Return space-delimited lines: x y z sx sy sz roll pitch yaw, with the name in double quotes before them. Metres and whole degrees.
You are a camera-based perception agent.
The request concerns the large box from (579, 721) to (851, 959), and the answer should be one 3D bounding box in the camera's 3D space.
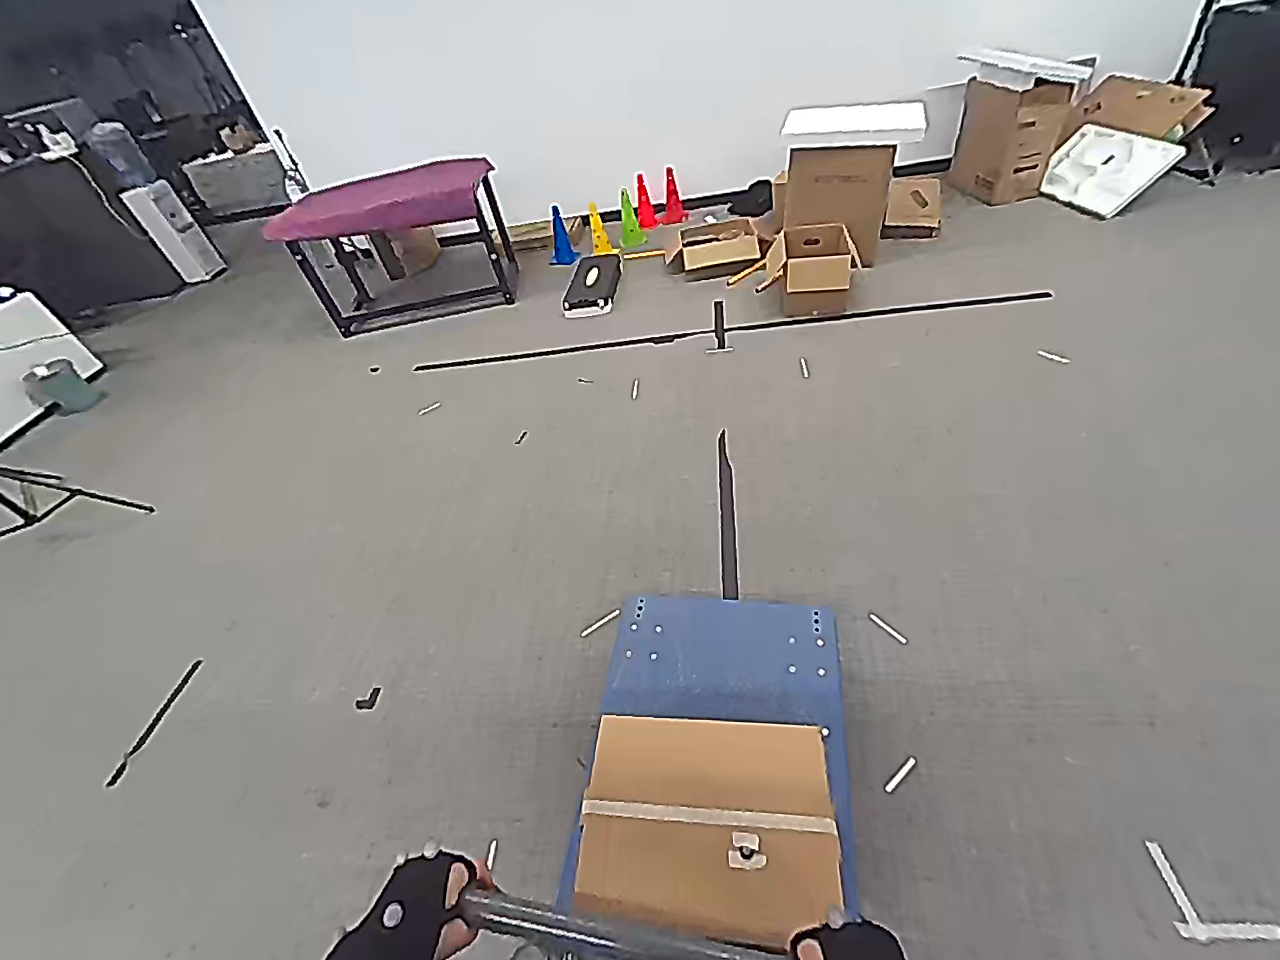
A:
"large box" 0.133 0.667 0.993 0.408 0.320 0.320 -2 44 10
